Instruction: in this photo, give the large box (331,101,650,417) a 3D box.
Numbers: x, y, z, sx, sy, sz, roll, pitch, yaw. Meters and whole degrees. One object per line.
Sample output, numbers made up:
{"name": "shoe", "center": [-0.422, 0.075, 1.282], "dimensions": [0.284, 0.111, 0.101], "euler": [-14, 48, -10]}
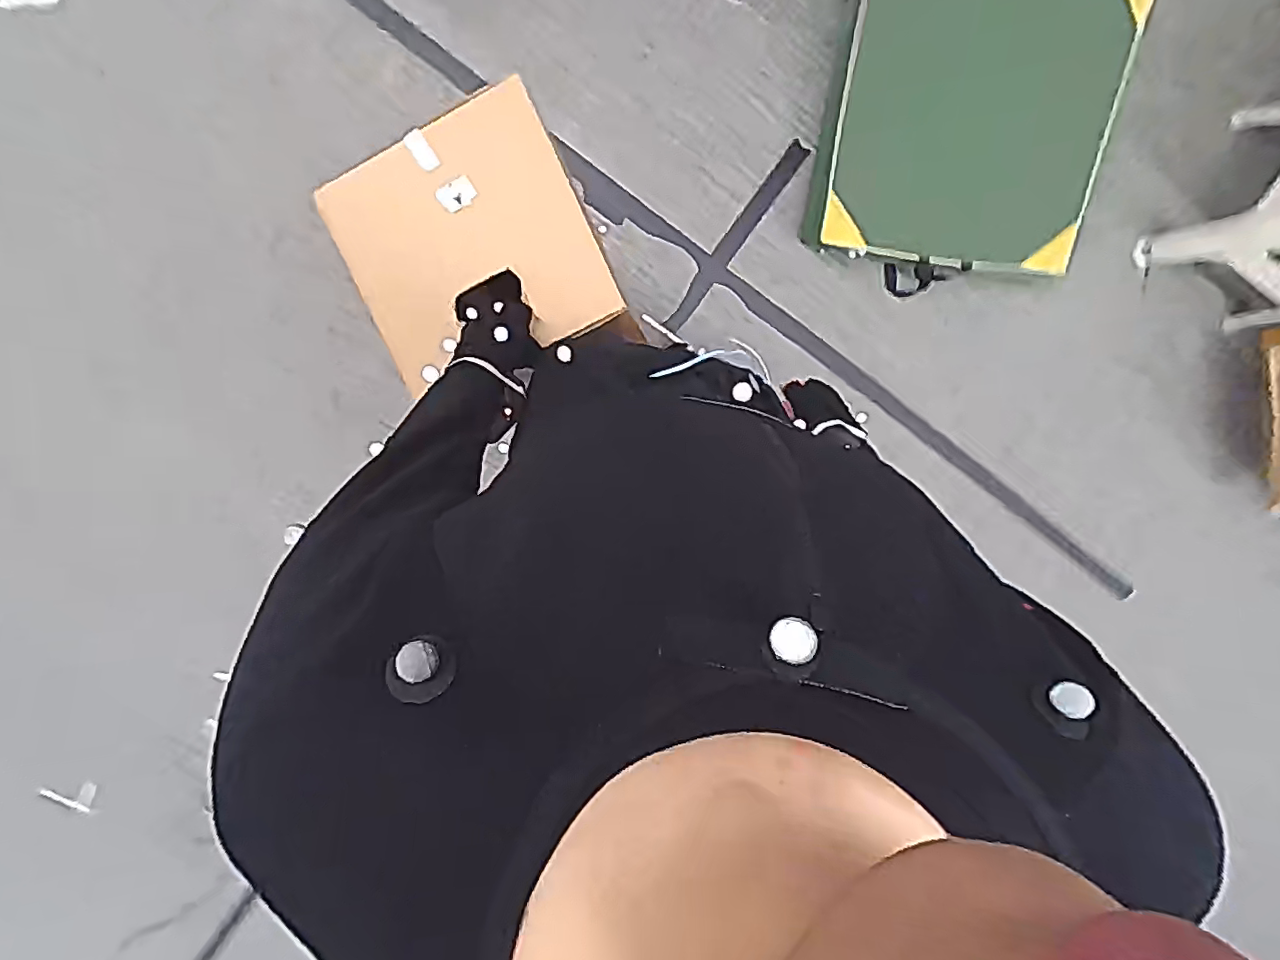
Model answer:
{"name": "large box", "center": [-0.199, -0.315, 0.897], "dimensions": [0.320, 0.408, 0.320], "euler": [-23, 97, 8]}
